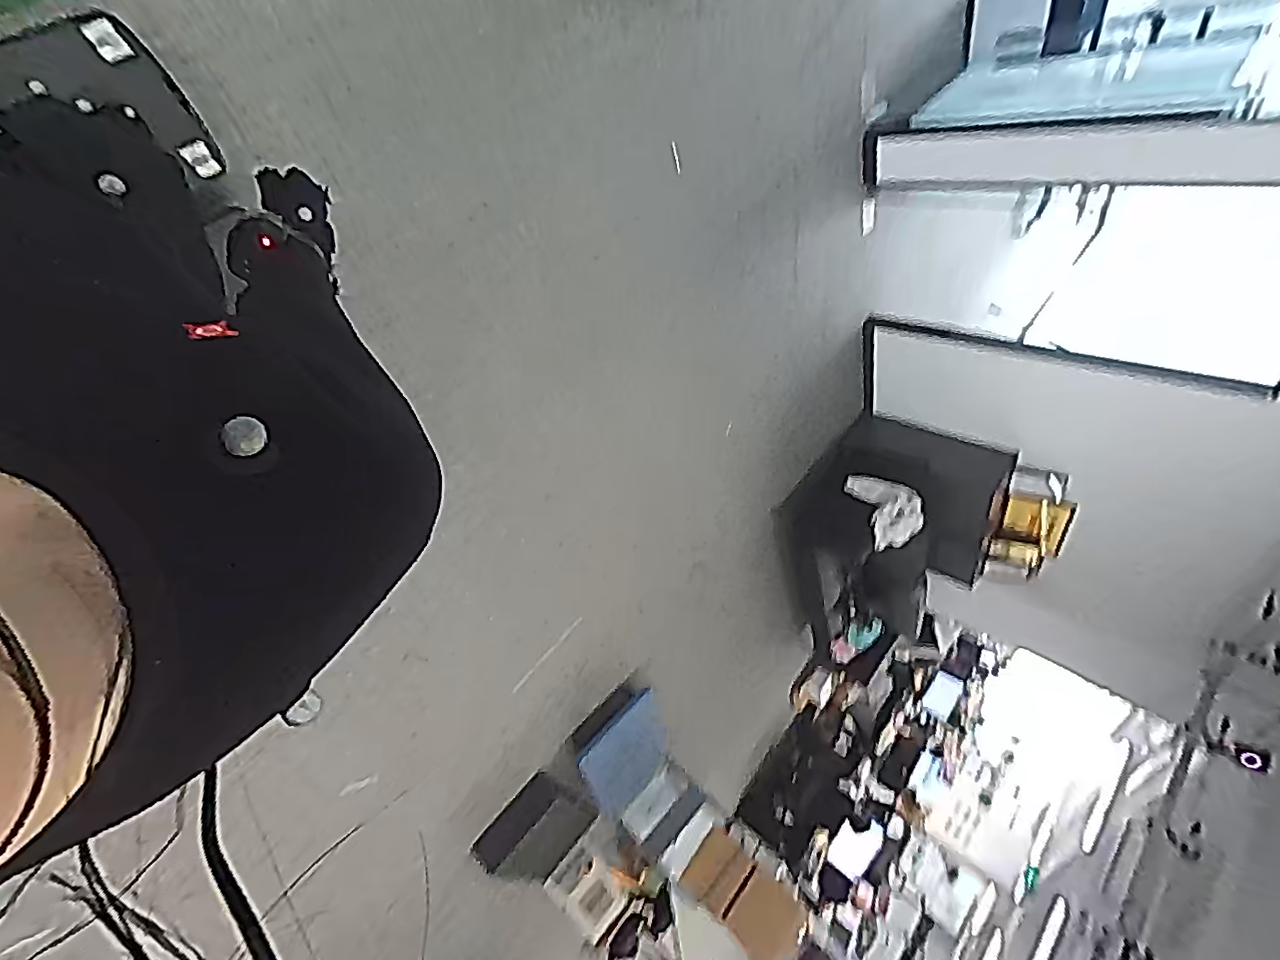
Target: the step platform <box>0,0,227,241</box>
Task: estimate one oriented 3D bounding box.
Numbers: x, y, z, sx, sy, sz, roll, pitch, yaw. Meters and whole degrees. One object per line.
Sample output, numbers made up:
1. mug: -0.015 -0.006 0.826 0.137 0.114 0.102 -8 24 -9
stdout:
1. step platform: -1.025 -0.508 0.791 0.684 0.204 0.286 -44 139 -21
